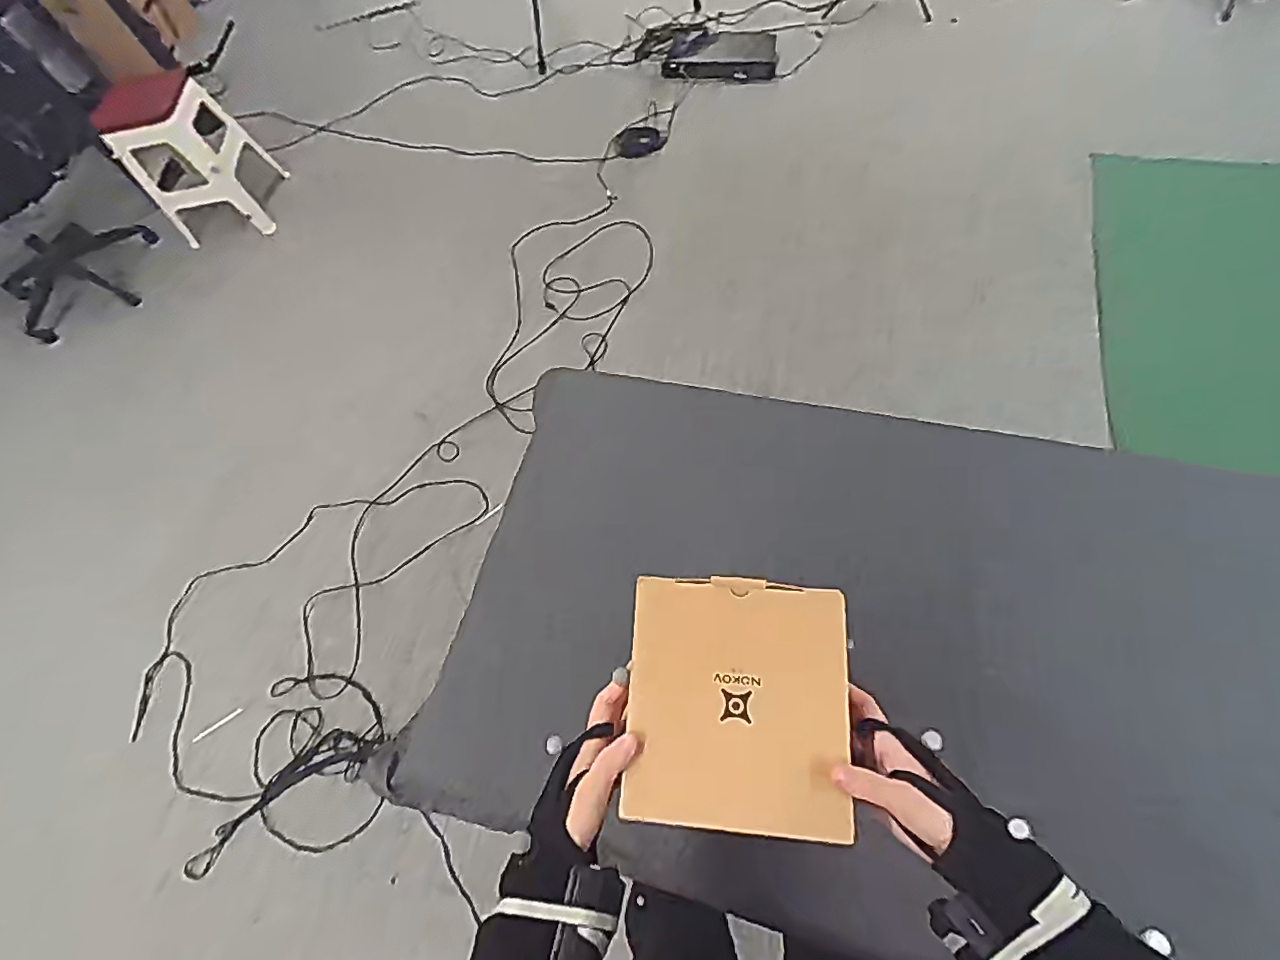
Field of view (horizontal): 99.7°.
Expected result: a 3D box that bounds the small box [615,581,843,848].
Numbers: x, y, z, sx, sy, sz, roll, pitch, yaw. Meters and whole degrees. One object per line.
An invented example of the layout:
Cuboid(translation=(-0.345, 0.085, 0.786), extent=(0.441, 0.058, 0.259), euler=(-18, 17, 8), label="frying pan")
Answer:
Cuboid(translation=(0.078, 0.199, 0.488), extent=(0.168, 0.176, 0.179), euler=(4, 69, 6), label="small box")
